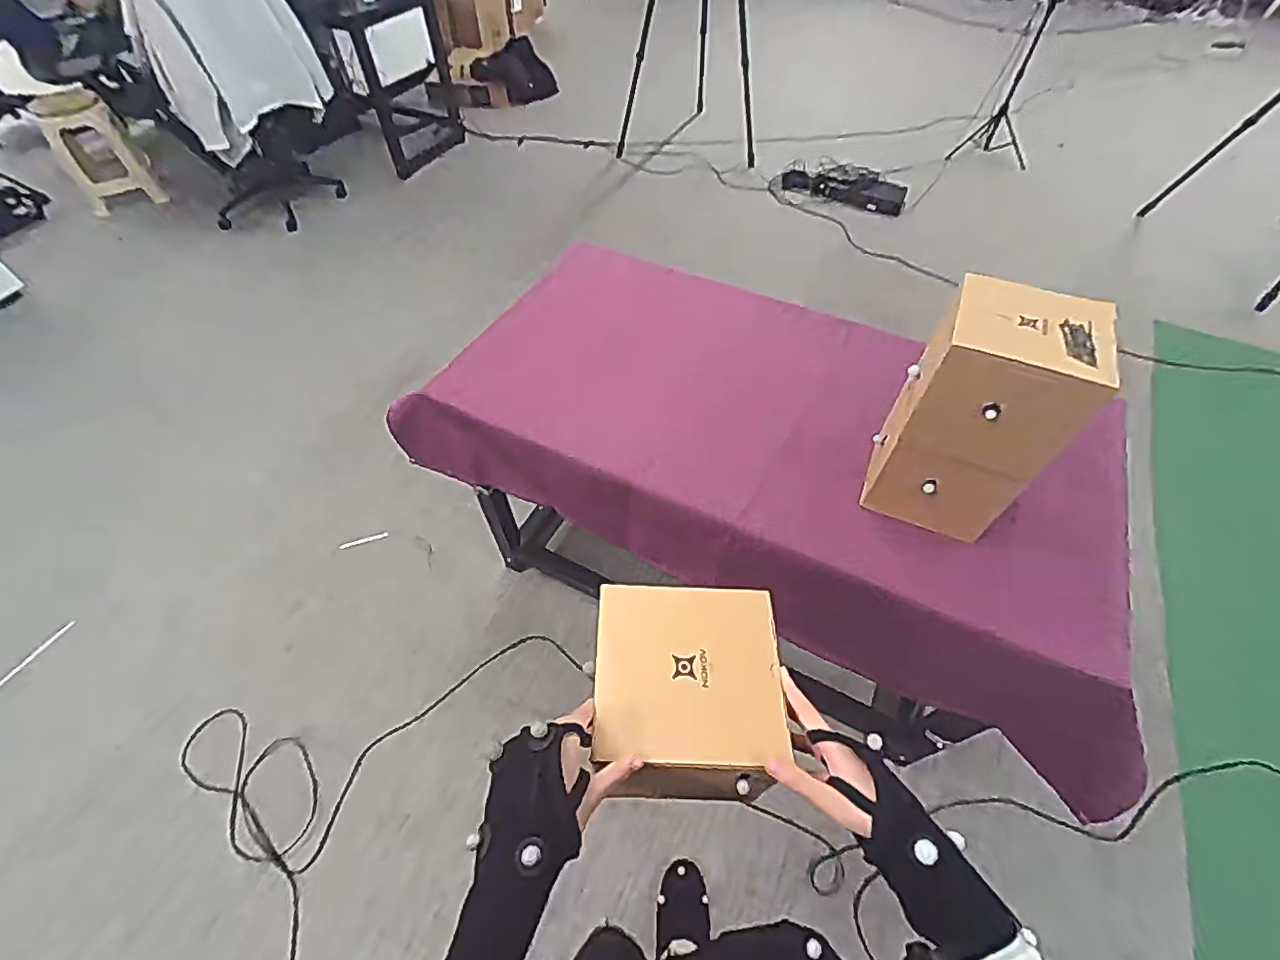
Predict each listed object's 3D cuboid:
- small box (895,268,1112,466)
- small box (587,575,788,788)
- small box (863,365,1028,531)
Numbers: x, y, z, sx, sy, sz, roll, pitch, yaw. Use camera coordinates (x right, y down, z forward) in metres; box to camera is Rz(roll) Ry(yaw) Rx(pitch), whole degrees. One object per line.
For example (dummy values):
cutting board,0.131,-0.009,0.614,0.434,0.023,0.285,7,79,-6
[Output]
small box,0.466,-0.143,0.710,0.179,0.176,0.168,21,55,16
small box,0.038,0.216,0.570,0.179,0.176,0.168,3,50,-3
small box,0.468,-0.046,0.843,0.179,0.176,0.168,20,56,15
